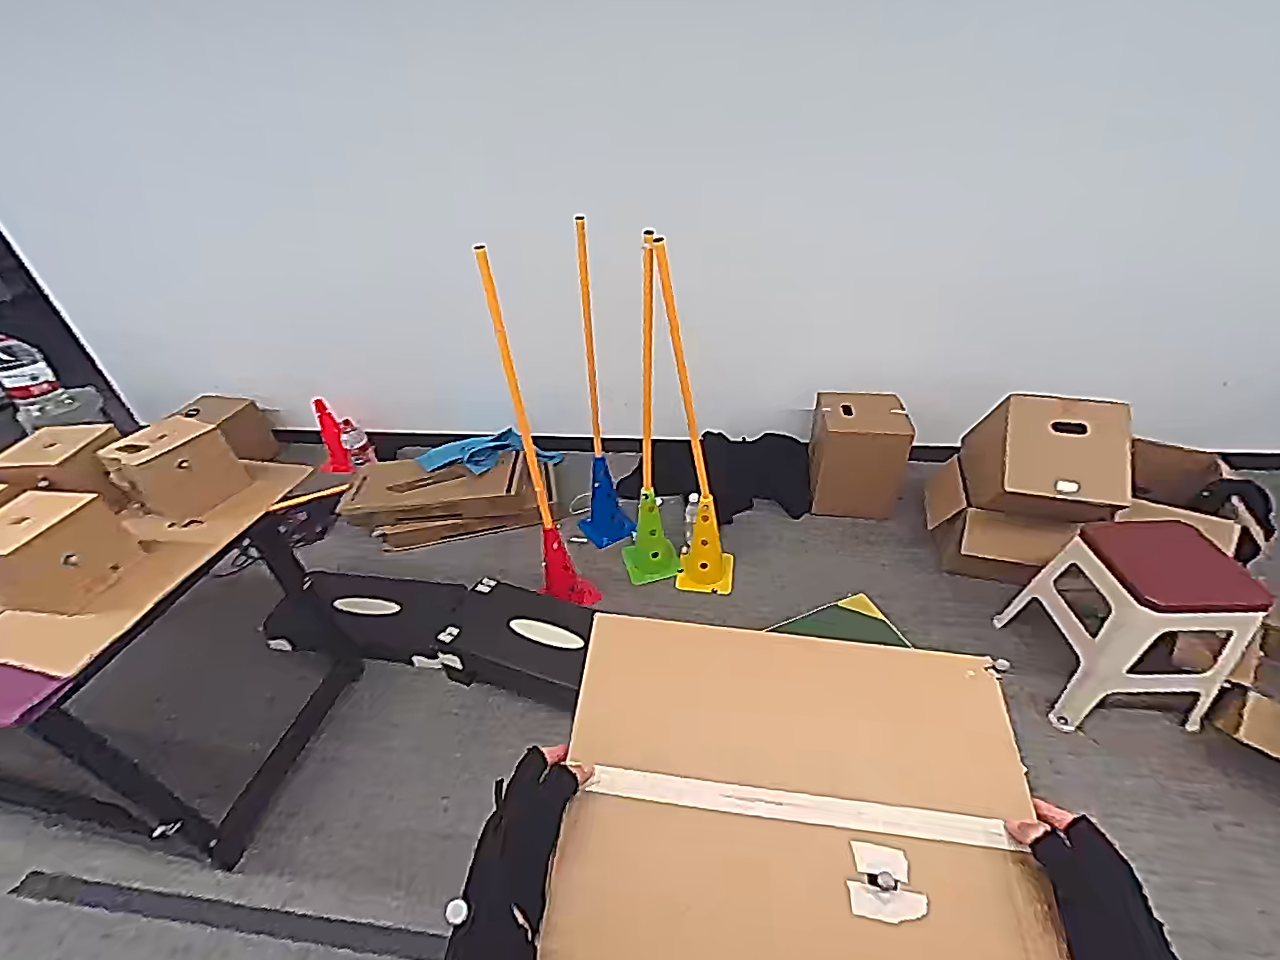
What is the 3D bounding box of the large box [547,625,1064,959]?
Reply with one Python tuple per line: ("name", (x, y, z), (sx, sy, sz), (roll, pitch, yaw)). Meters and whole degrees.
("large box", (0.138, 0.384, 0.594), (0.408, 0.320, 0.320), (5, 52, 5))
